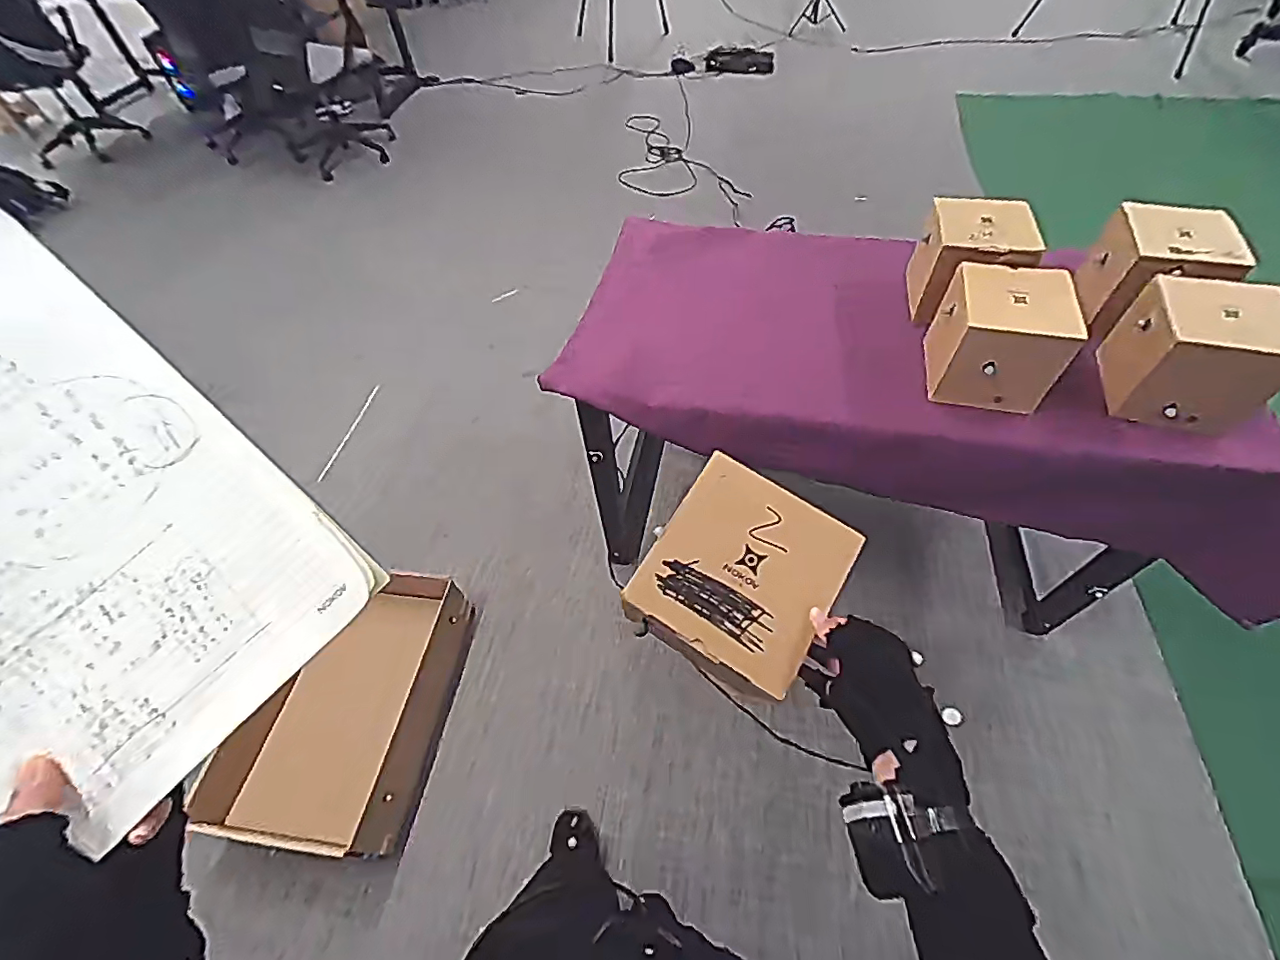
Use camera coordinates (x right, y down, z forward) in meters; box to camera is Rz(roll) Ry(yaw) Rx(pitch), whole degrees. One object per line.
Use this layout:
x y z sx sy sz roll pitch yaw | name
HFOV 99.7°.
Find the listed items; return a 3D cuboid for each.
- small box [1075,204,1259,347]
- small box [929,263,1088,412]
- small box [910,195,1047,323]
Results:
0.942 -0.374 0.992 0.168 0.176 0.179 12 55 13 | small box
0.607 -0.238 0.917 0.168 0.176 0.179 11 56 12 | small box
0.637 -0.419 1.045 0.168 0.176 0.179 9 56 10 | small box
